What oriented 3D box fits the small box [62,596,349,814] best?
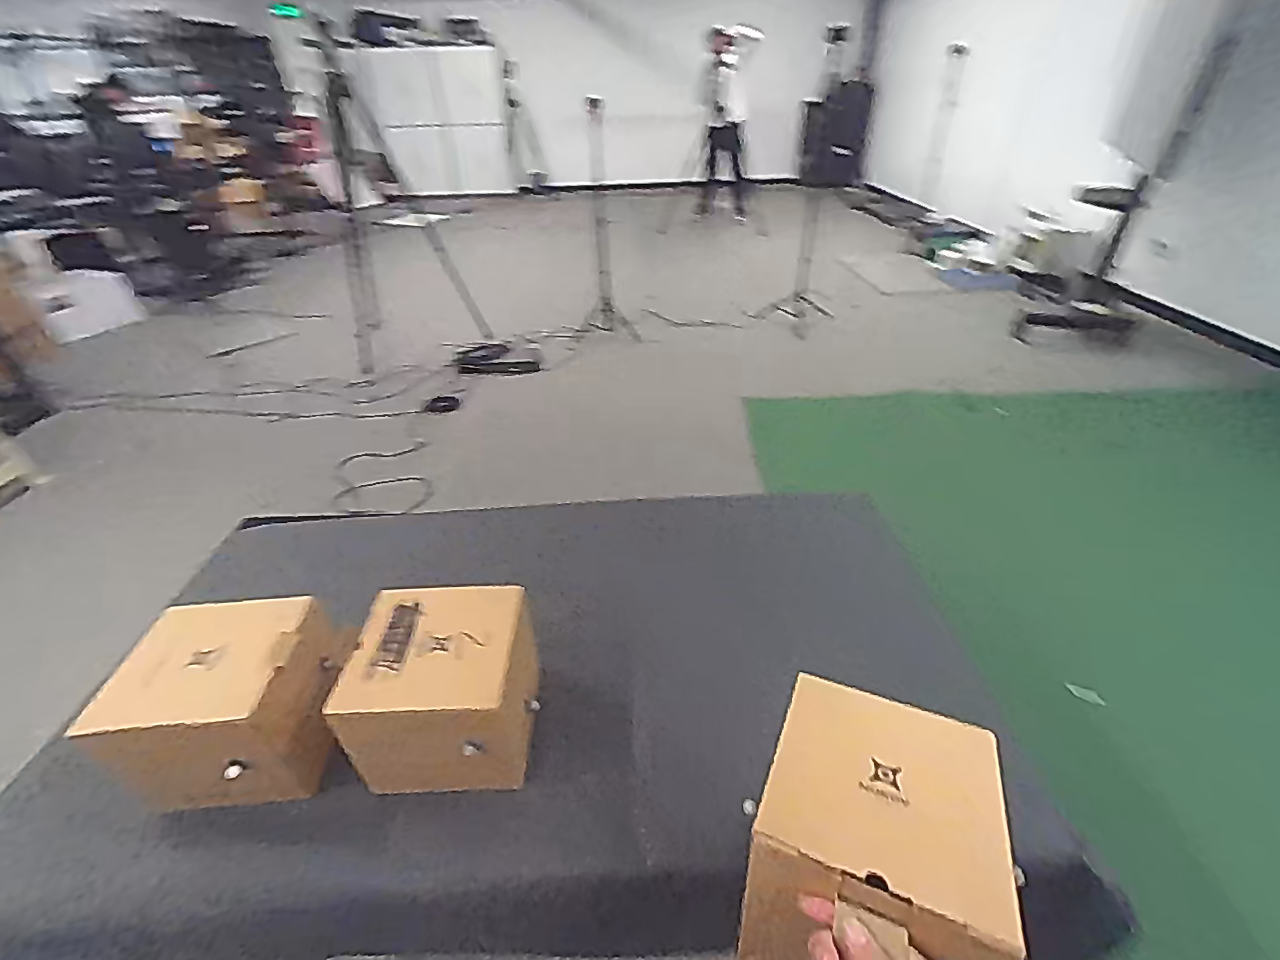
[{"bbox_3d":[-0.475,0.260,0.633,0.179,0.176,0.168,-5,35,-4],"label":"small box"}]

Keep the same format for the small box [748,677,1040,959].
[{"bbox_3d":[0.194,0.306,0.445,0.168,0.176,0.179,12,26,24],"label":"small box"}]
